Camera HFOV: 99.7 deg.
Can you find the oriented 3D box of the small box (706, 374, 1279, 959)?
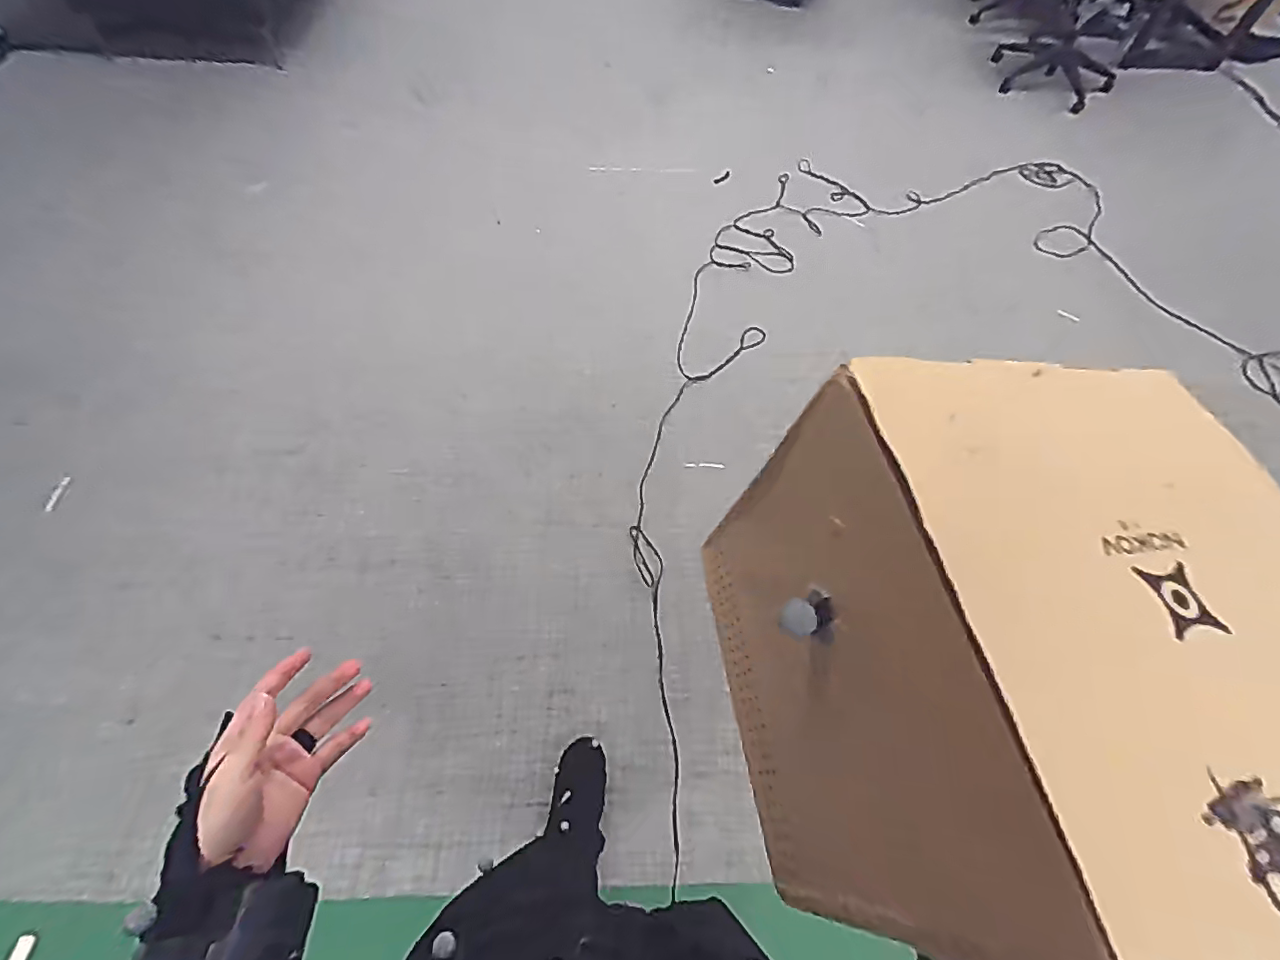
[{"bbox_3d":[0.144,0.073,0.247,0.168,0.176,0.179,-3,59,-16],"label":"small box"}]
